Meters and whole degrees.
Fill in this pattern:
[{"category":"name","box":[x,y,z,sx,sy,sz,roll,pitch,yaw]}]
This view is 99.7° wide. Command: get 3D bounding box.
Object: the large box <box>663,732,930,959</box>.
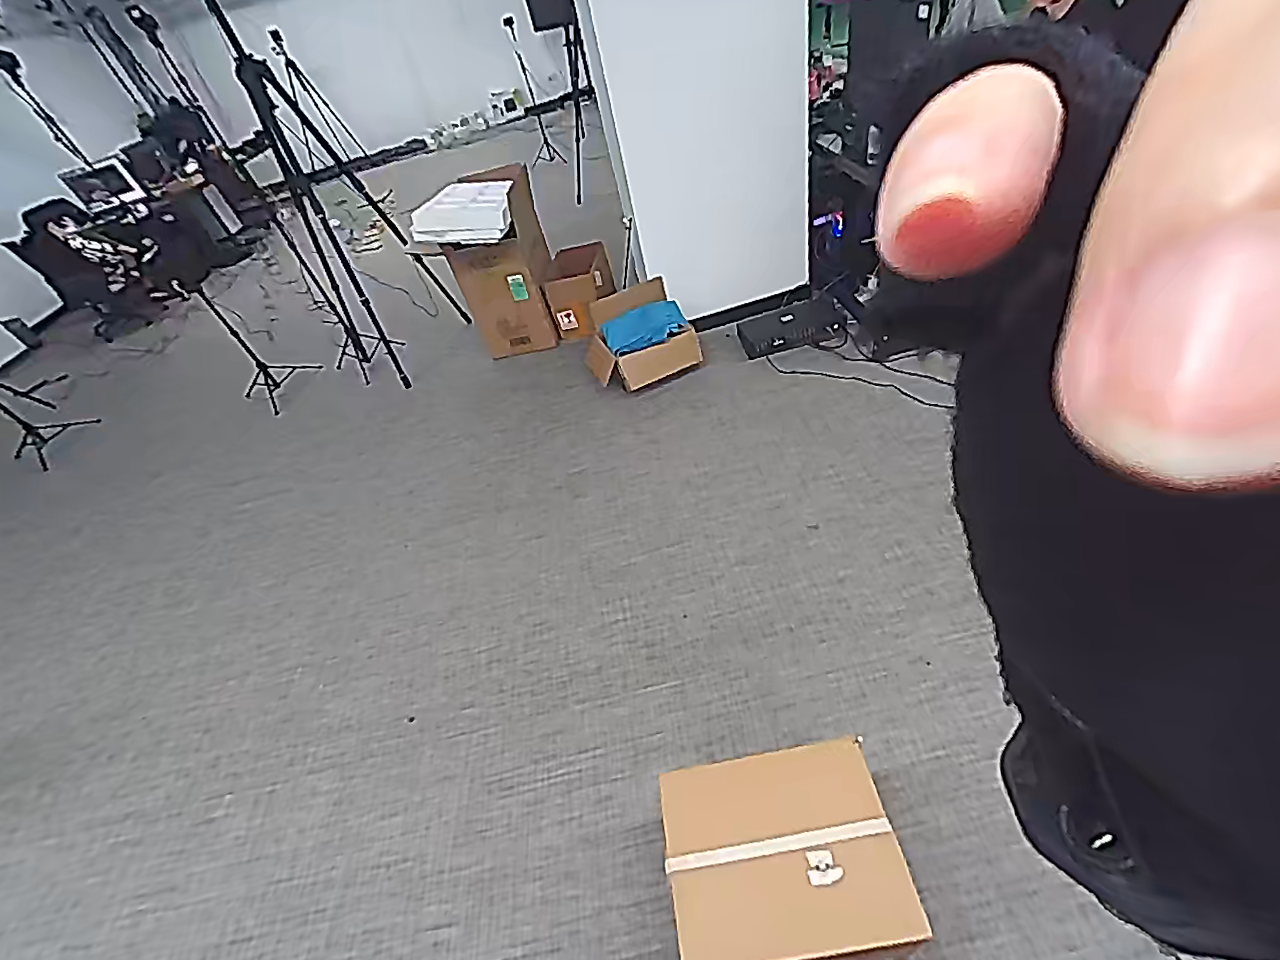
[{"category":"large box","box":[0.285,0.757,1.080,0.408,0.320,0.320,-13,43,4]}]
